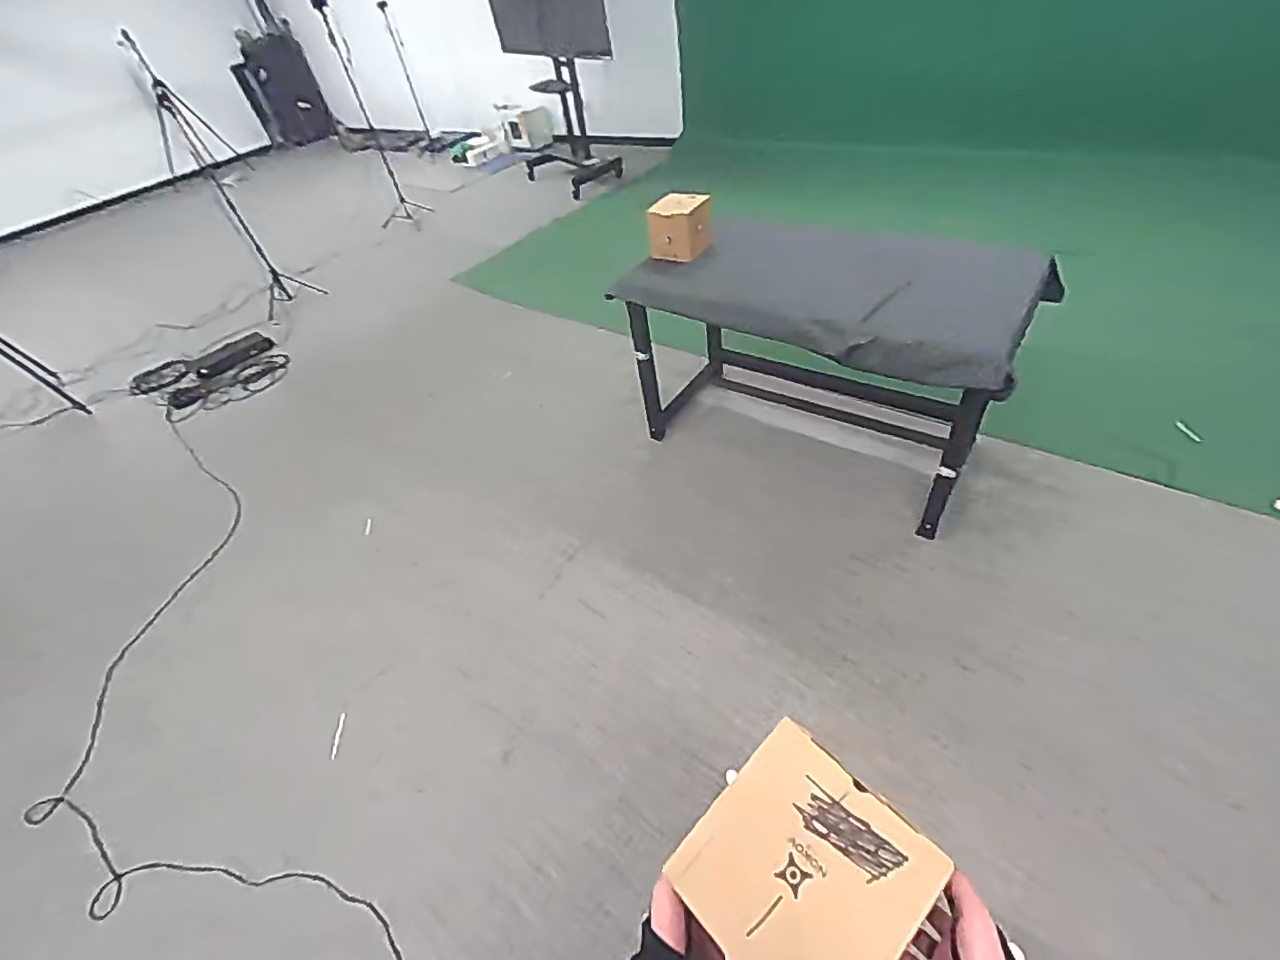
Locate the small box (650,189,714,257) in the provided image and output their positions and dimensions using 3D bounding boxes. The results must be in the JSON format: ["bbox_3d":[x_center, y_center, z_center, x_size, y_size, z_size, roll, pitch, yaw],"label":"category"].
[{"bbox_3d":[0.160,-0.922,1.945,0.168,0.176,0.179,20,54,27],"label":"small box"}]
